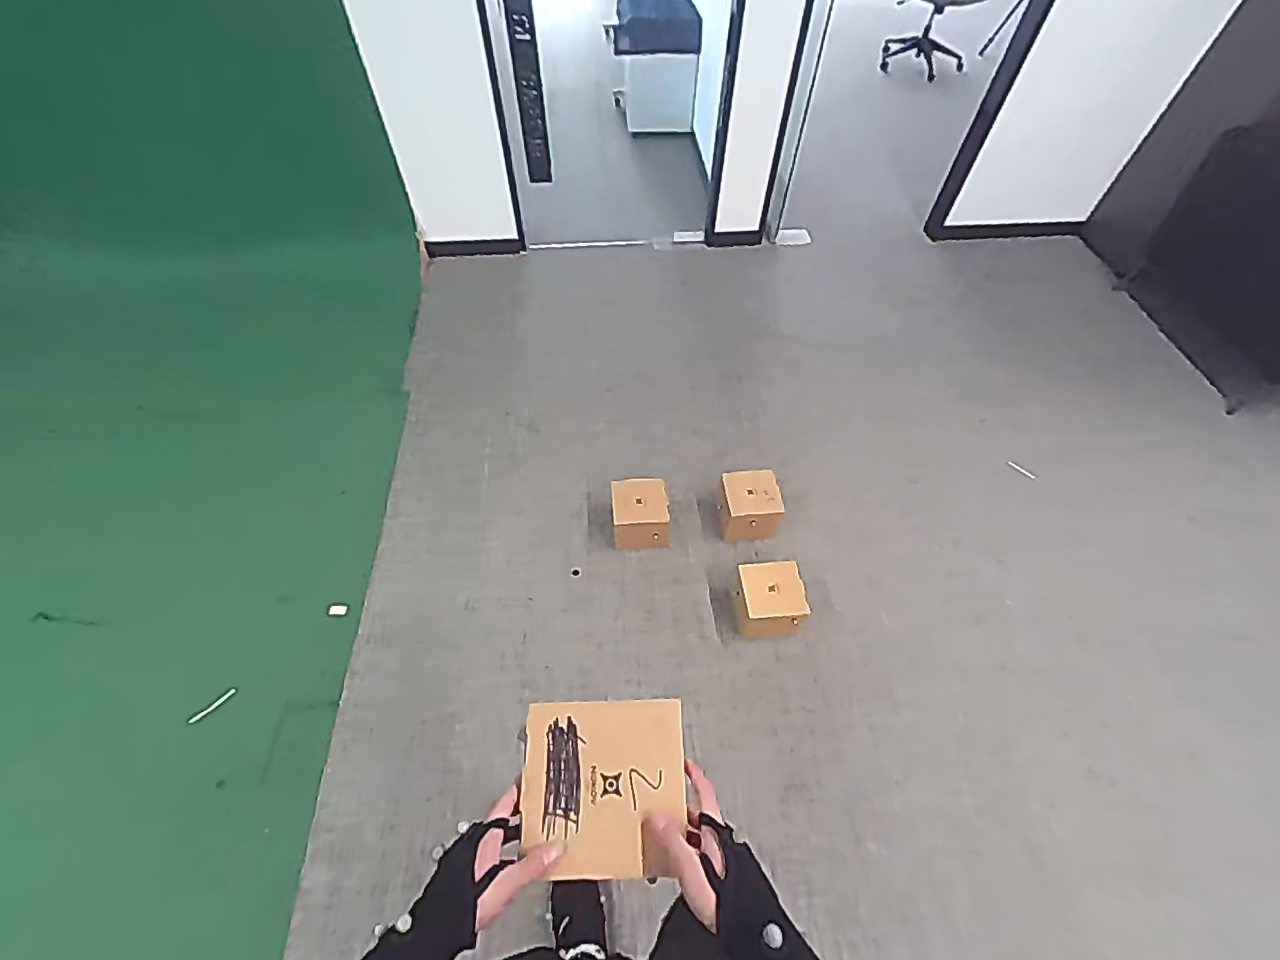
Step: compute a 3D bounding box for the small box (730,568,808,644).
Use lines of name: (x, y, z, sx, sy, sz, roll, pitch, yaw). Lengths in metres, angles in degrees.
small box: (0.370, 0.375, 1.592, 0.179, 0.176, 0.168, -3, 54, -5)

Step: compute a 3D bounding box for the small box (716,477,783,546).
small box: (0.351, 0.108, 1.778, 0.179, 0.176, 0.168, -3, 55, -5)

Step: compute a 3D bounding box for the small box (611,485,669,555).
small box: (-0.005, 0.132, 1.752, 0.179, 0.176, 0.168, -3, 54, -3)
